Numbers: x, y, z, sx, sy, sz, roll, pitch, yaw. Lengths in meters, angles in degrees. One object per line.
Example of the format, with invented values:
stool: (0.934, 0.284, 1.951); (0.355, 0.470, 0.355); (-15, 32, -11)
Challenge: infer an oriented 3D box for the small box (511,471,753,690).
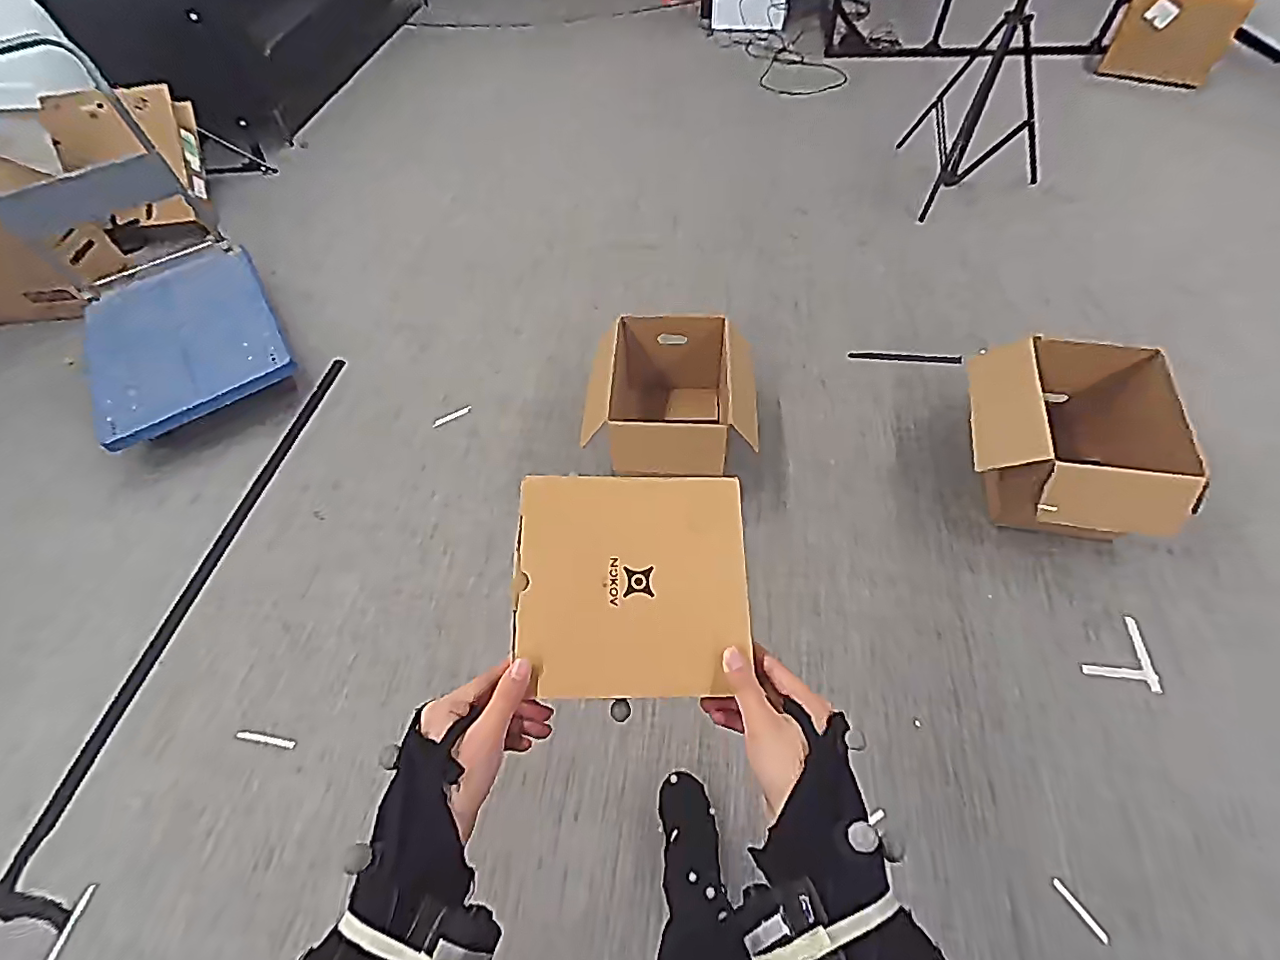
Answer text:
small box: (-0.008, 0.097, 0.485); (0.179, 0.176, 0.168); (0, 71, -2)
